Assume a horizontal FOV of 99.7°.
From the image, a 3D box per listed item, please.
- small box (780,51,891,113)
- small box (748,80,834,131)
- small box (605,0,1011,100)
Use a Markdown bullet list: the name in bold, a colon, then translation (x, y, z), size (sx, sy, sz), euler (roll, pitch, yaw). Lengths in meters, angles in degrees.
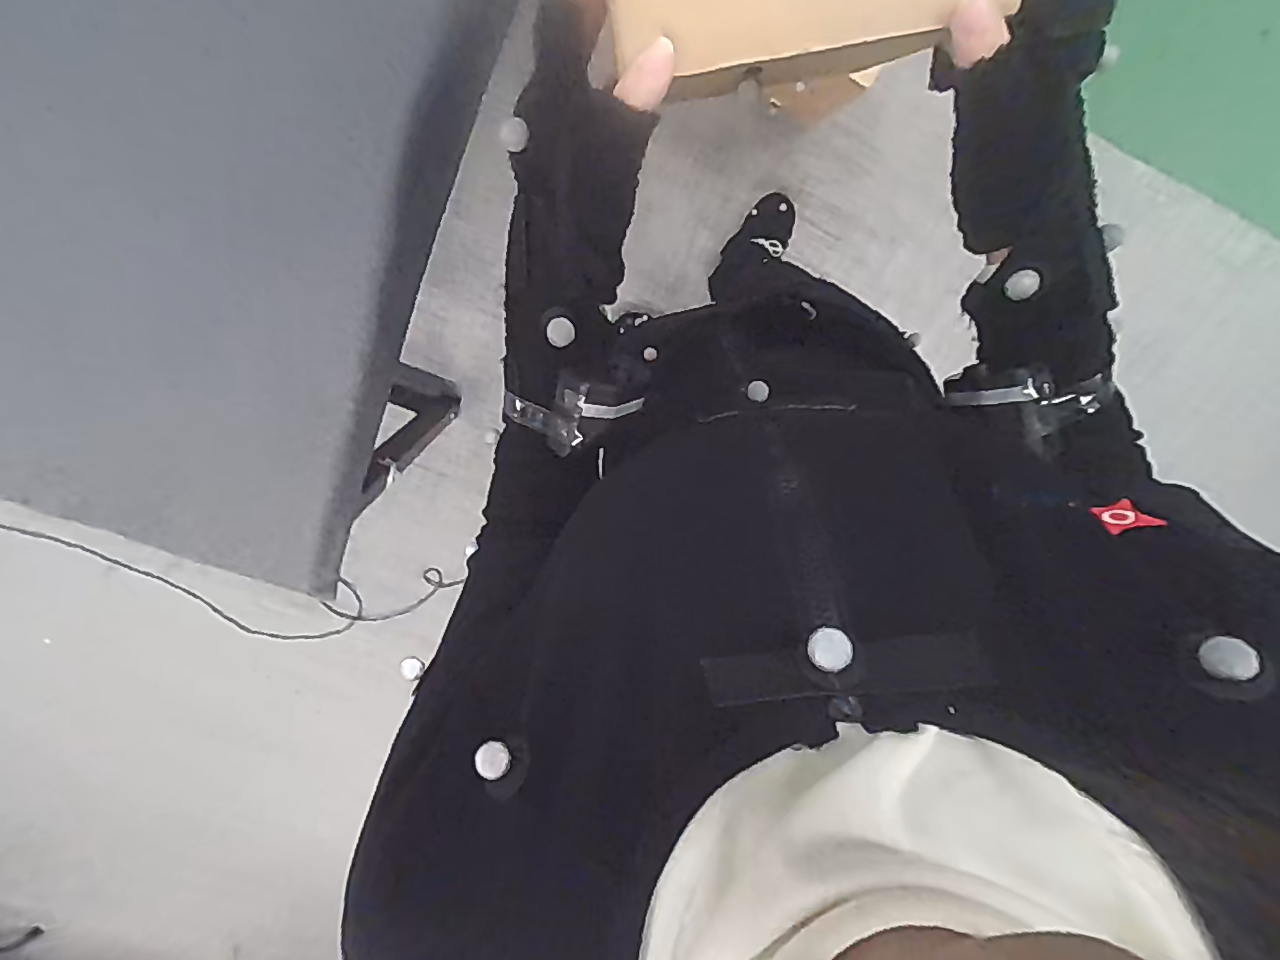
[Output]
- **small box**: translation (0.330, -0.754, 0.894), size (0.168, 0.176, 0.179), euler (26, 112, -10)
- **small box**: translation (0.327, -0.817, 1.046), size (0.168, 0.176, 0.179), euler (25, 112, -10)
- **small box**: translation (0.064, -0.301, 0.263), size (0.179, 0.176, 0.168), euler (-7, 120, 2)
